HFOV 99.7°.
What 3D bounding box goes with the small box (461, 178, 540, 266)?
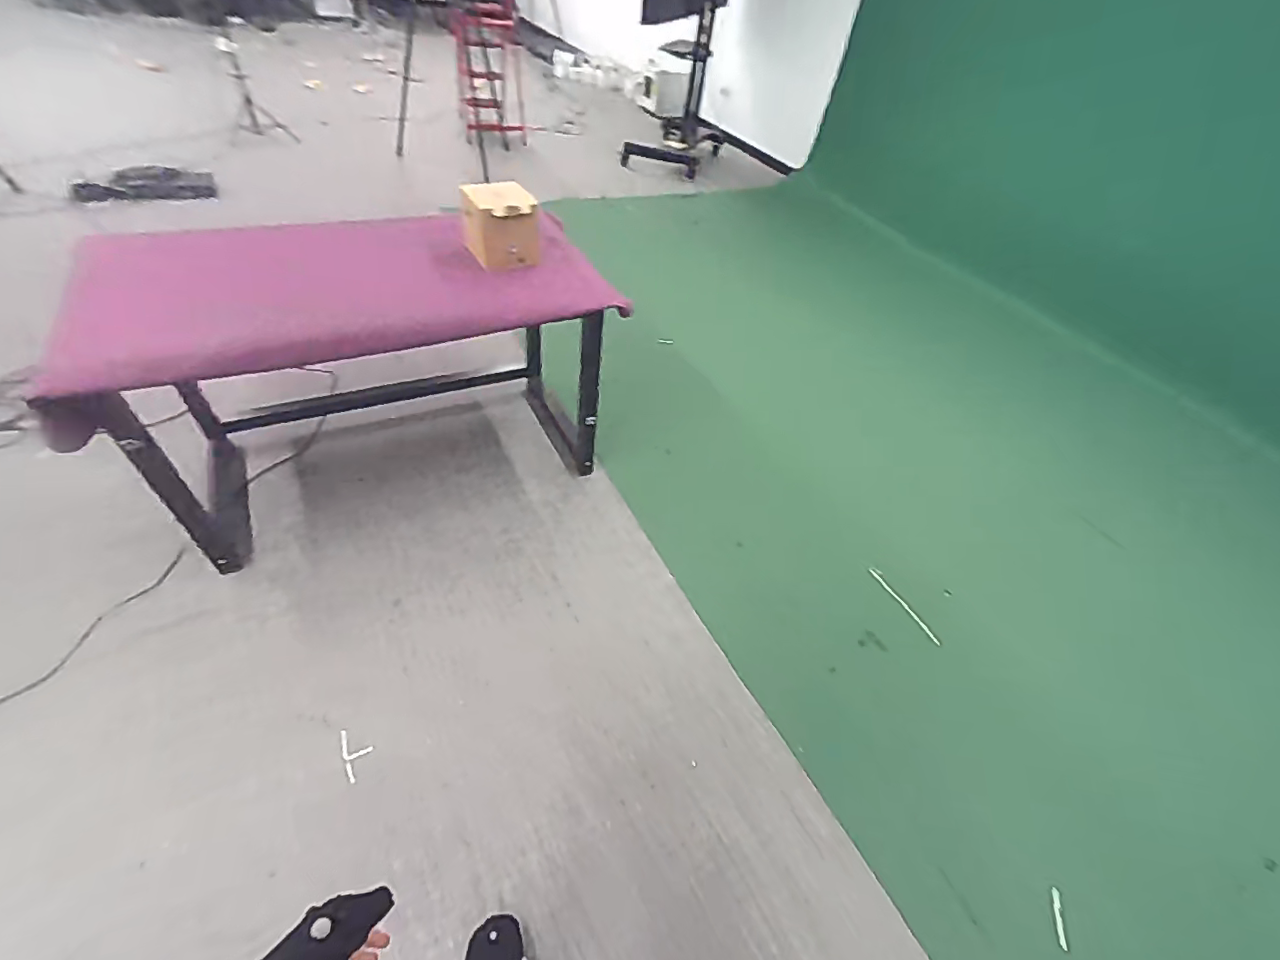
[{"bbox_3d":[-0.389,-0.722,1.514,0.168,0.176,0.179,-20,54,-24],"label":"small box"}]
